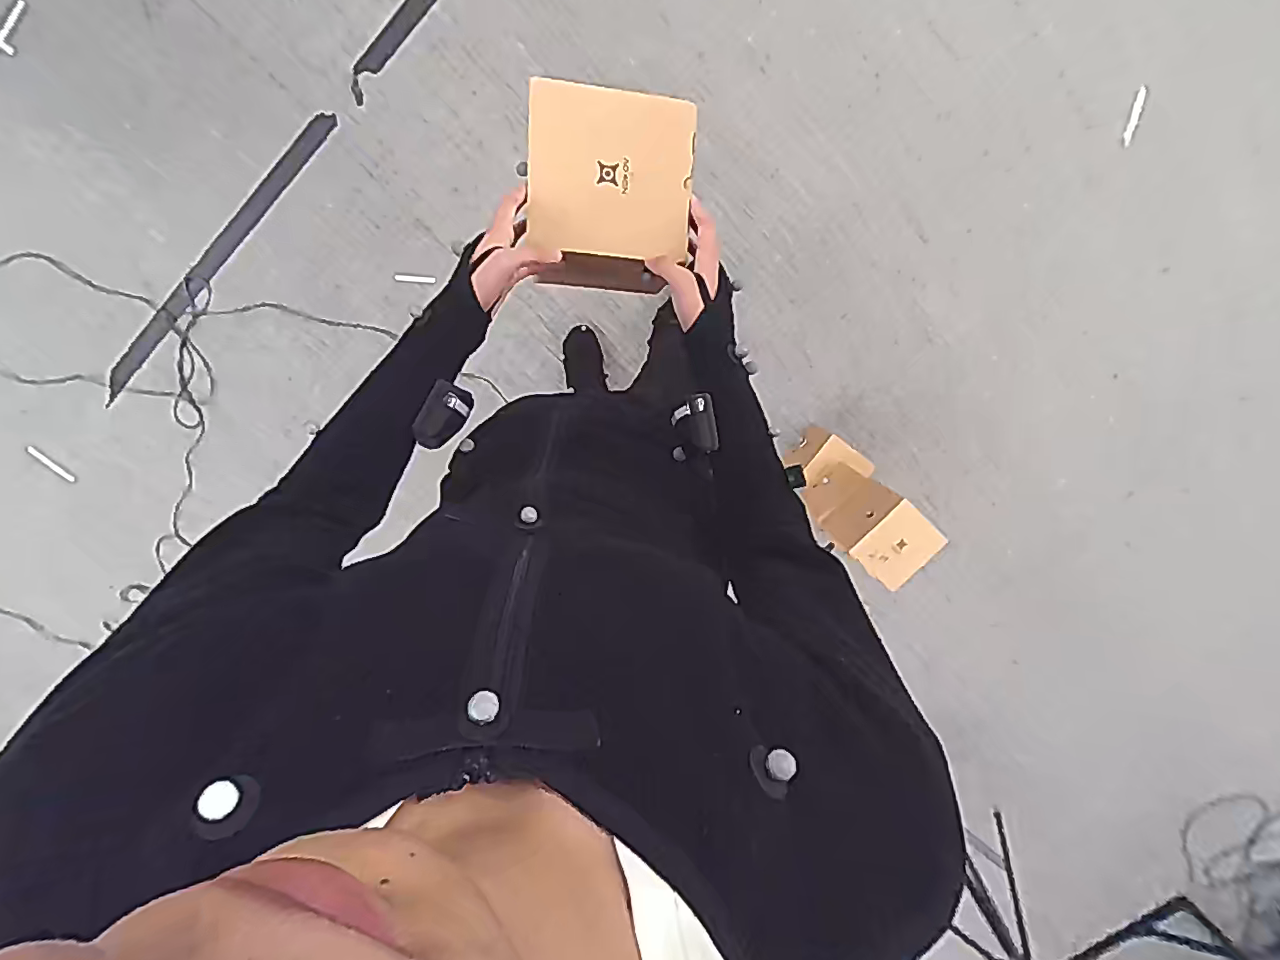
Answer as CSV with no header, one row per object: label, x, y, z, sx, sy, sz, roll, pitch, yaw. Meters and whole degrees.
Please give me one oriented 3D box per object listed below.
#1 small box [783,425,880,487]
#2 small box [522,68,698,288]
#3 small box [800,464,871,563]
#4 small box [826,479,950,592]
small box,0.553,-0.043,1.587,0.179,0.176,0.168,33,103,-12
small box,-0.043,-0.329,0.628,0.179,0.176,0.168,1,97,-11
small box,0.564,0.083,1.457,0.168,0.176,0.179,-39,106,9
small box,0.584,0.125,1.299,0.168,0.176,0.179,41,101,-15
